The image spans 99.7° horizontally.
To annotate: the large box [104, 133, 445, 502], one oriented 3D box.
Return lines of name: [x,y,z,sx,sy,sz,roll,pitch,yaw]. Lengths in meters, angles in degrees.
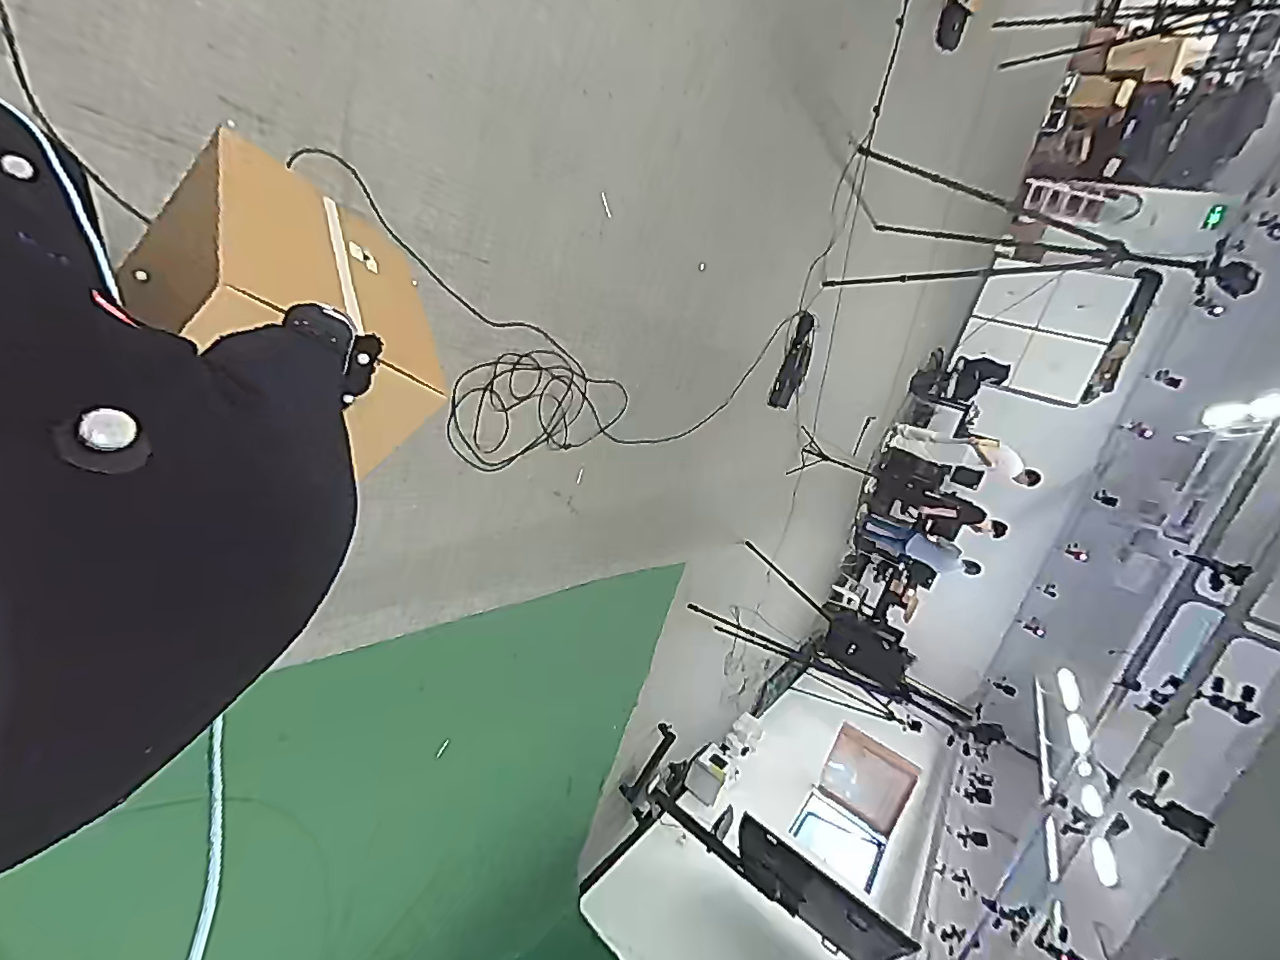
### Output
large box: [-0.572,-0.232,0.860,0.320,0.408,0.320,-38,148,15]
